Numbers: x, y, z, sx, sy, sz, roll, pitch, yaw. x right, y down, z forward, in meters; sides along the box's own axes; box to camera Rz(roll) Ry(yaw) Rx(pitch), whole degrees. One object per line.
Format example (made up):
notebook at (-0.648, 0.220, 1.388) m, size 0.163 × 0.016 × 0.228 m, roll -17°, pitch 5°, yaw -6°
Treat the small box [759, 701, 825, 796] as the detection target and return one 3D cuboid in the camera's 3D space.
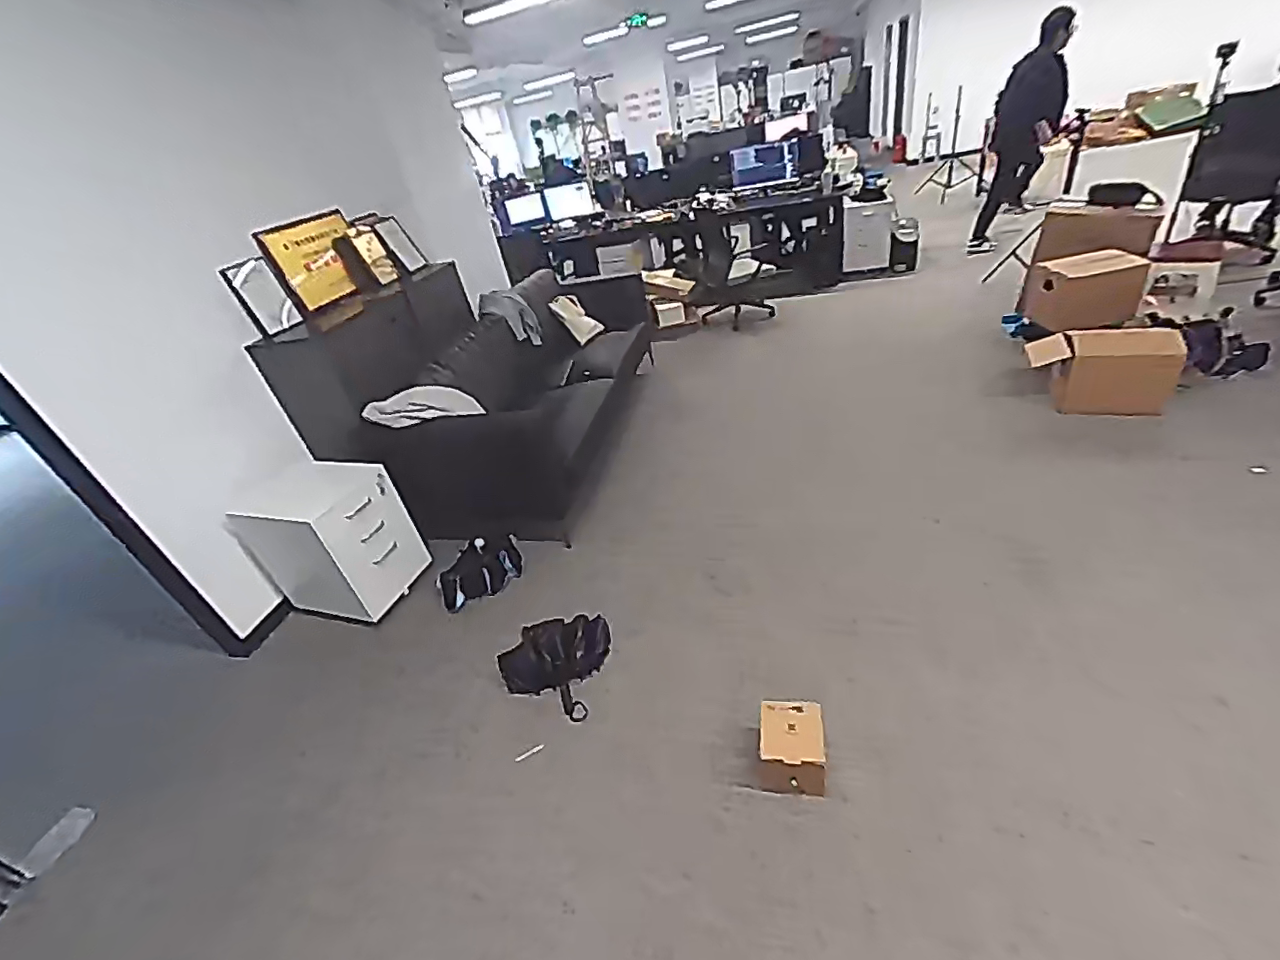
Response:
small box at (0.422, 0.747, 1.502) m, size 0.168 × 0.176 × 0.179 m, roll -2°, pitch 34°, yaw 16°
